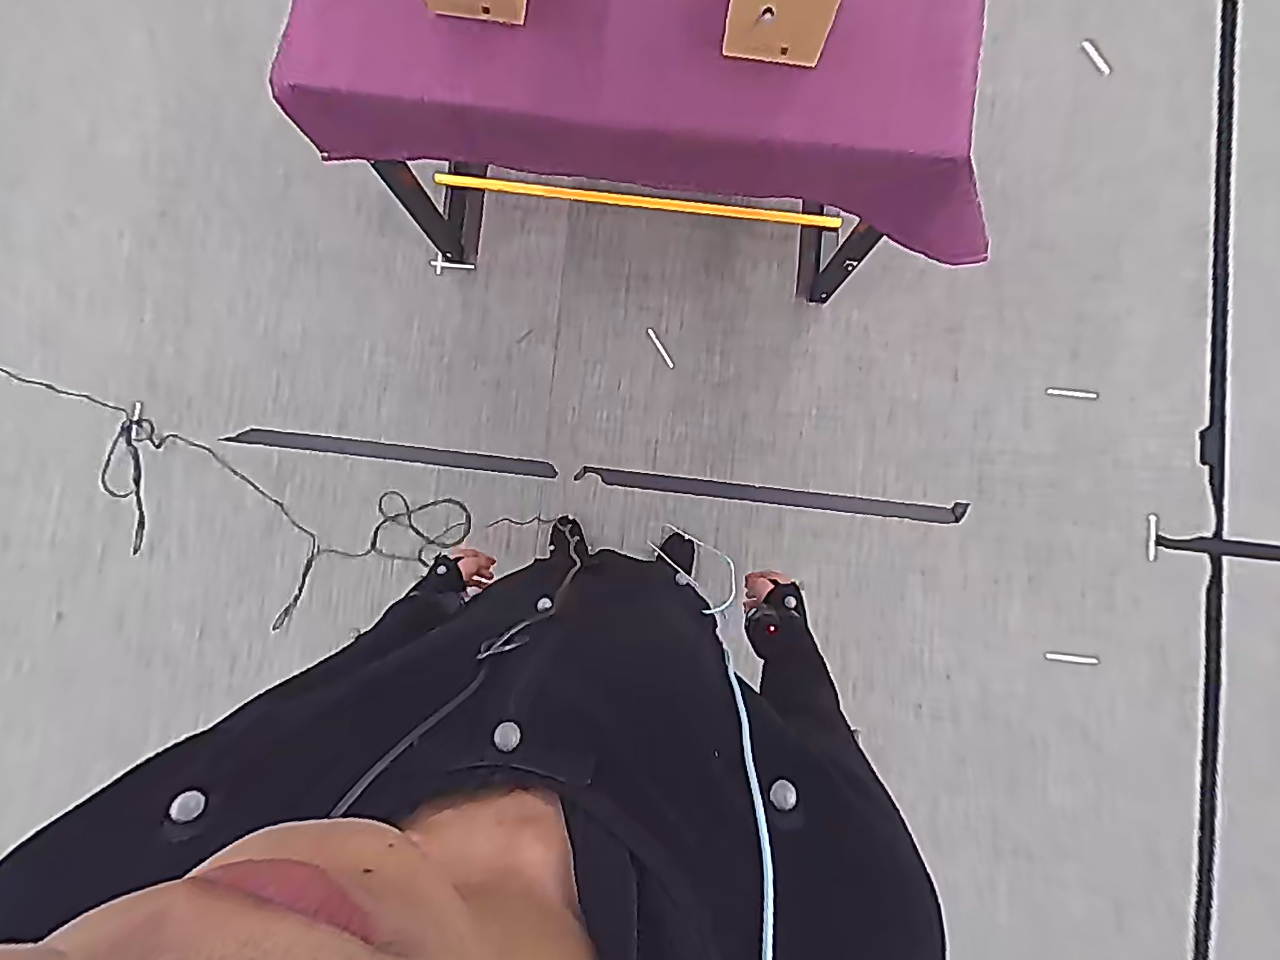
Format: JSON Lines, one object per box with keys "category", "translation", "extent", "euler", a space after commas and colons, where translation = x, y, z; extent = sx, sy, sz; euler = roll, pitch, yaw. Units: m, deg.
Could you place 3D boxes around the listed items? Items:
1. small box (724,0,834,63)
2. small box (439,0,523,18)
{"category": "small box", "translation": [0.237, -0.830, 0.880], "extent": [0.168, 0.176, 0.179], "euler": [9, 86, 1]}
{"category": "small box", "translation": [-0.278, -0.911, 0.880], "extent": [0.168, 0.176, 0.179], "euler": [9, 87, 0]}
